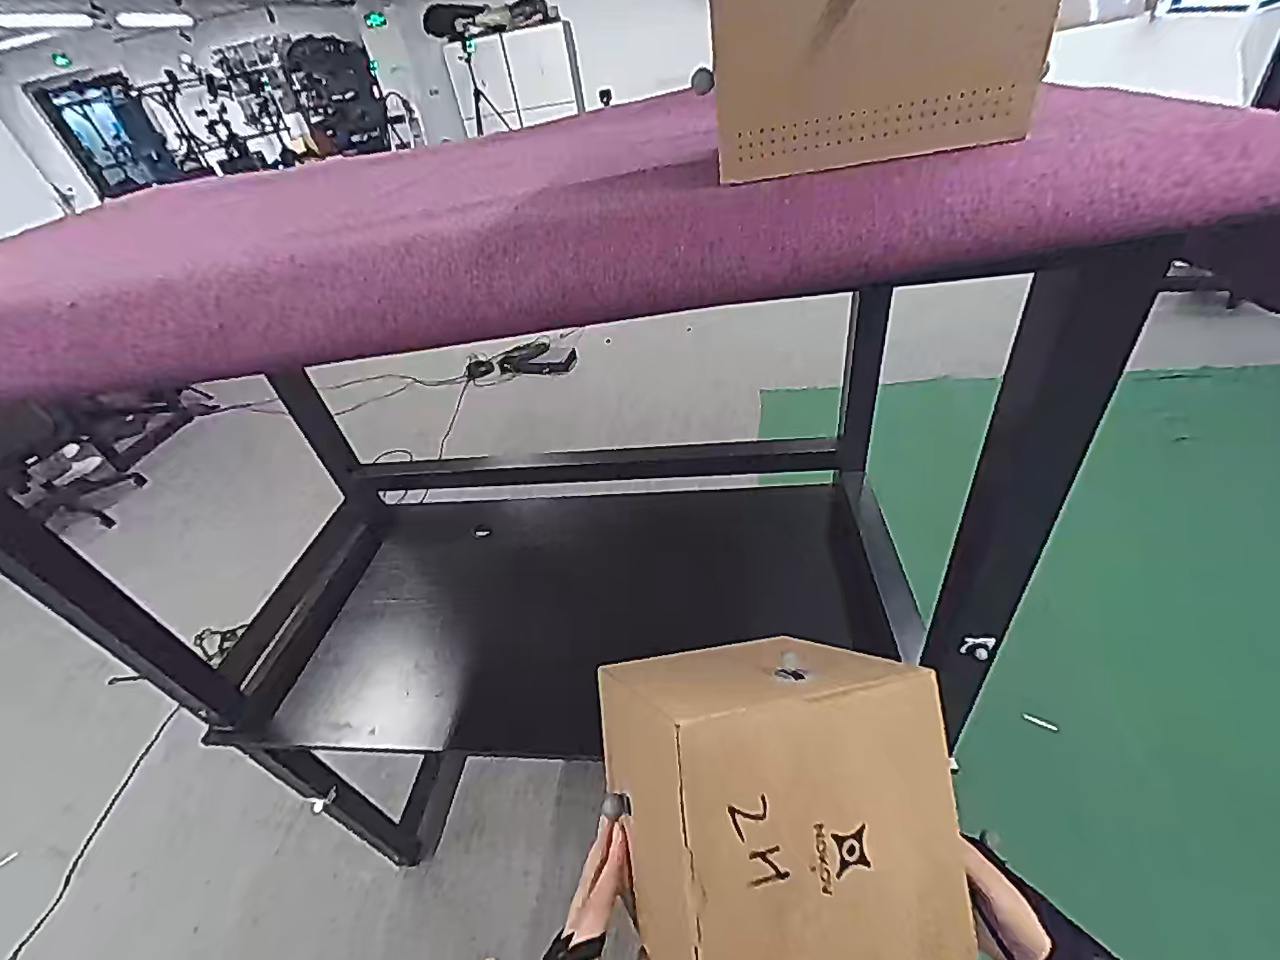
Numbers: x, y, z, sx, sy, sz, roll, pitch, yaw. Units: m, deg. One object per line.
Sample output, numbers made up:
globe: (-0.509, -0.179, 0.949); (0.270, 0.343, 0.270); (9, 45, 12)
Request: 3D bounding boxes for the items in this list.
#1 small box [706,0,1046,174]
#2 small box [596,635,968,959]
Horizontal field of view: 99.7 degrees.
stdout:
small box: (0.132, -0.308, 0.331); (0.179, 0.176, 0.168); (-3, 39, 12)
small box: (0.077, 0.206, 0.369); (0.179, 0.168, 0.176); (-2, -9, -18)
